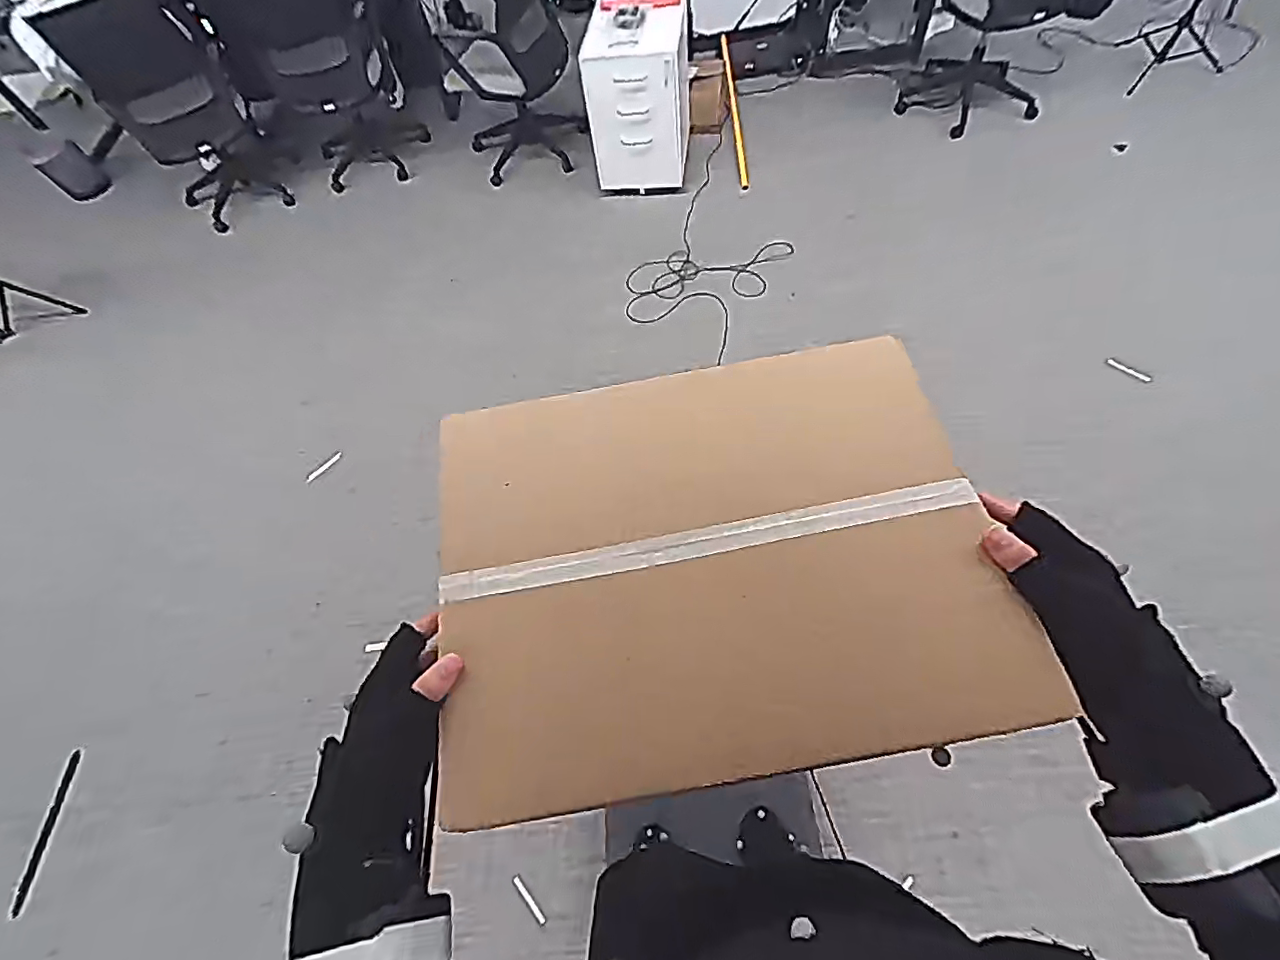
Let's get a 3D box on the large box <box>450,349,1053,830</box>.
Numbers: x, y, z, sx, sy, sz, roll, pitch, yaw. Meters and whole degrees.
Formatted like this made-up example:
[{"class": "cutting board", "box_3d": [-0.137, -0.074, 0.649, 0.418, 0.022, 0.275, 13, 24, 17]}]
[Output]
[{"class": "large box", "box_3d": [0.064, 0.116, 0.546, 0.408, 0.320, 0.320, -10, 63, 0]}]
